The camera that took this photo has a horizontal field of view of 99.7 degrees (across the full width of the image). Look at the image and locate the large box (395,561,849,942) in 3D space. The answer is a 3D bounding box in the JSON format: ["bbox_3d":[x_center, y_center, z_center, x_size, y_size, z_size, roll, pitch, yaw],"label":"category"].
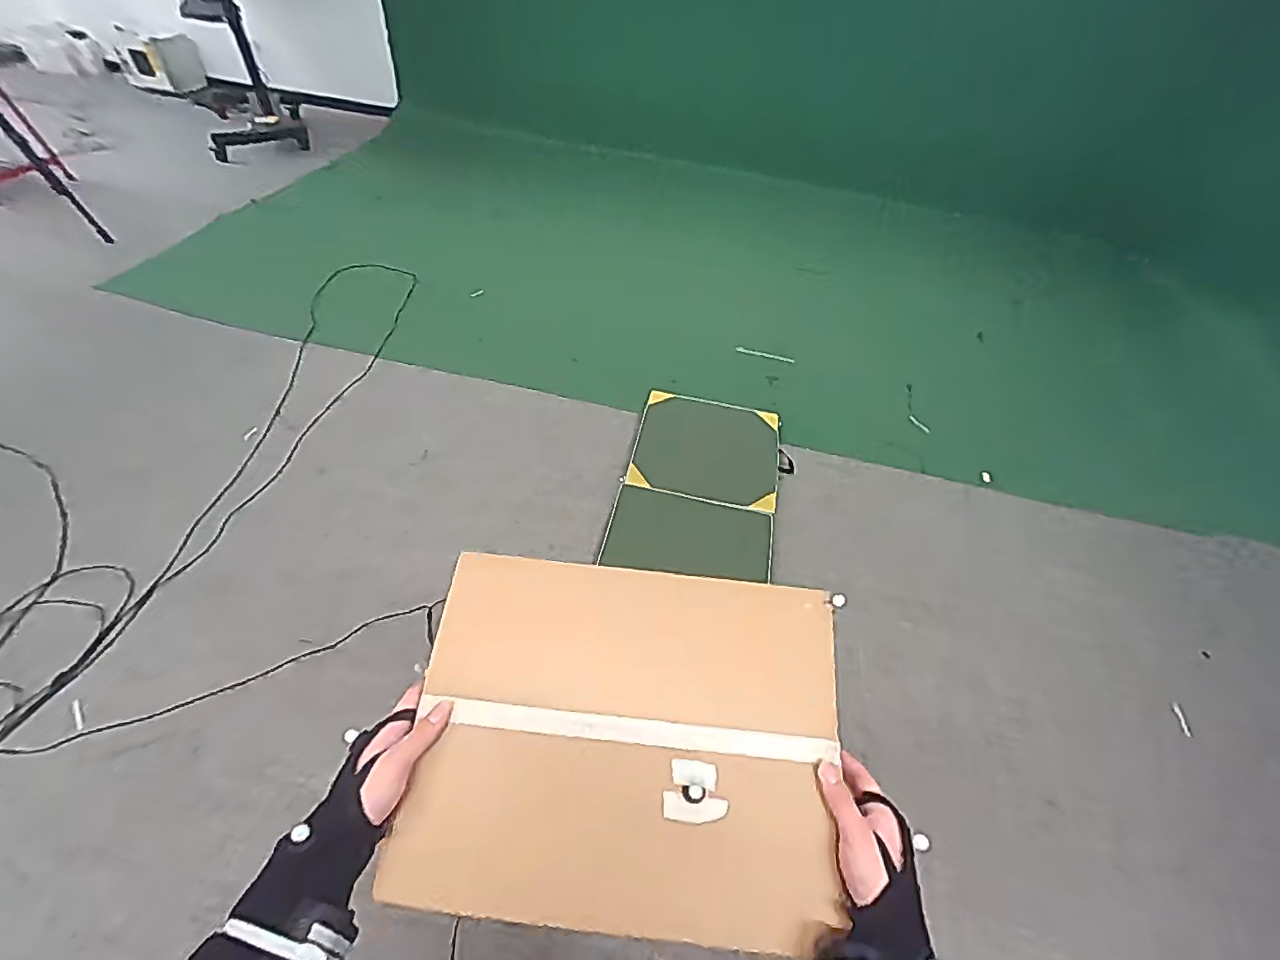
[{"bbox_3d":[-0.010,0.310,0.664,0.408,0.320,0.320,6,64,1],"label":"large box"}]
